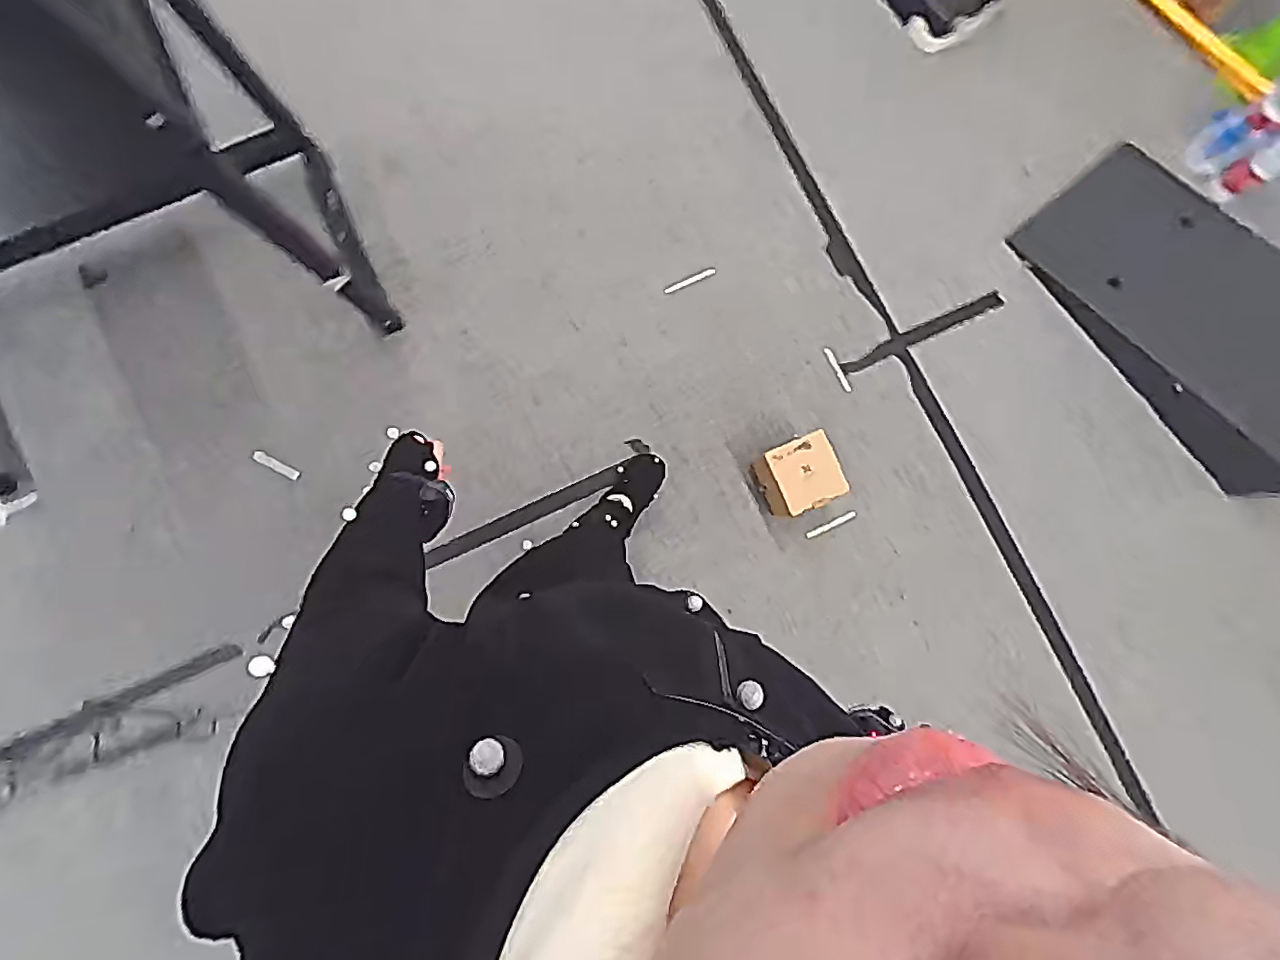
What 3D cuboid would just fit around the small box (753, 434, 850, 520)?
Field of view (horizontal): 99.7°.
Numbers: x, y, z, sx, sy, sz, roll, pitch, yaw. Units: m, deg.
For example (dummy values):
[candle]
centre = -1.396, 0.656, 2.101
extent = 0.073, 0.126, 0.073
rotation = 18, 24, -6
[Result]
[small box]
centre = 0.420, -0.006, 1.435
extent = 0.168, 0.176, 0.179
rotation = -23, 88, -3
